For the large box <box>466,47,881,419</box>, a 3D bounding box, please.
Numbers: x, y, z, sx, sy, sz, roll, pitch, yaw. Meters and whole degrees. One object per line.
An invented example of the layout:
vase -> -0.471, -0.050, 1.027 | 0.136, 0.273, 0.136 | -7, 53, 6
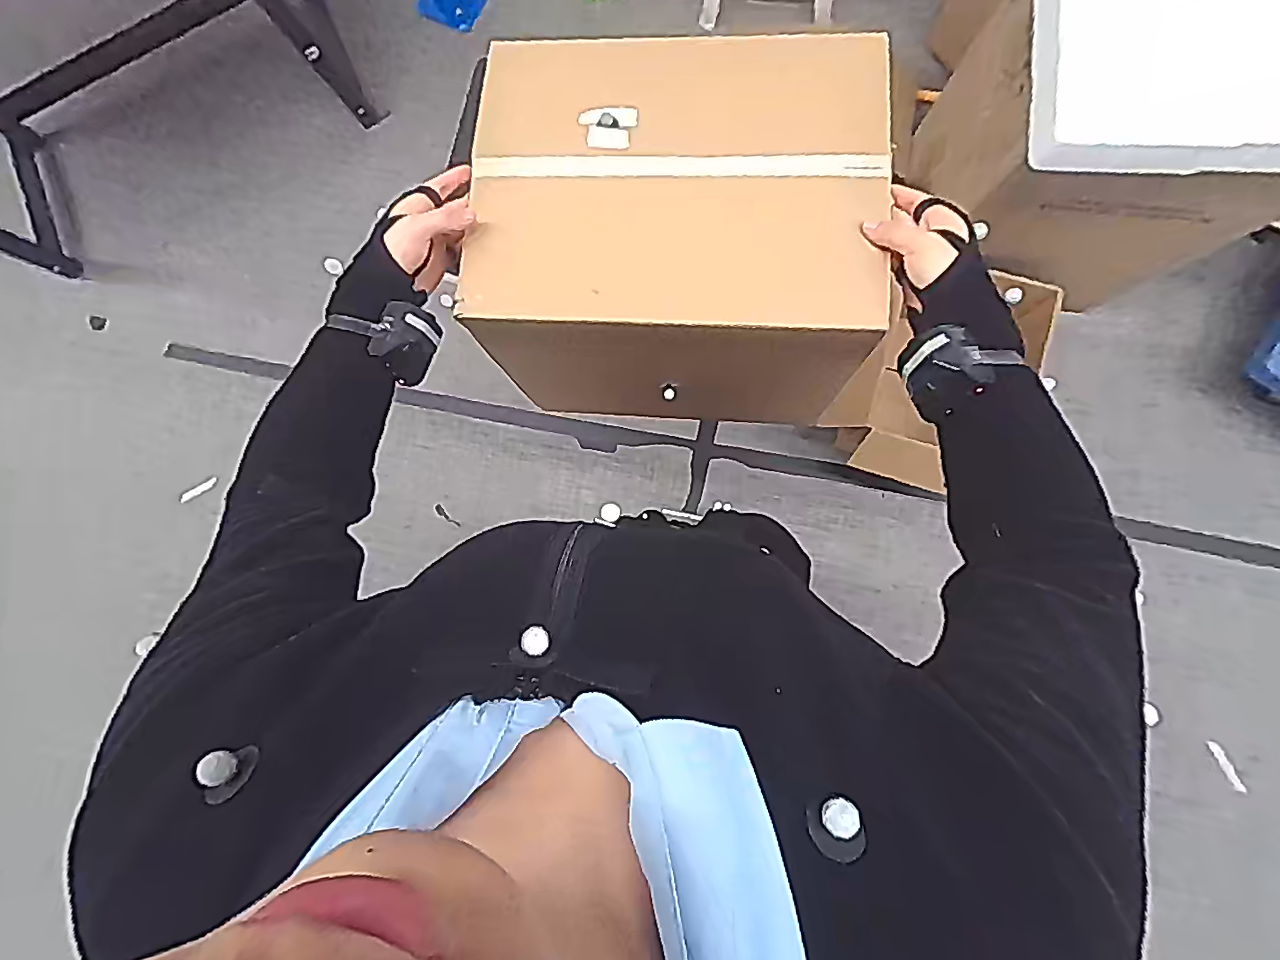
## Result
large box -> 0.047, -0.267, 0.685 | 0.408, 0.320, 0.320 | 2, 79, 6
